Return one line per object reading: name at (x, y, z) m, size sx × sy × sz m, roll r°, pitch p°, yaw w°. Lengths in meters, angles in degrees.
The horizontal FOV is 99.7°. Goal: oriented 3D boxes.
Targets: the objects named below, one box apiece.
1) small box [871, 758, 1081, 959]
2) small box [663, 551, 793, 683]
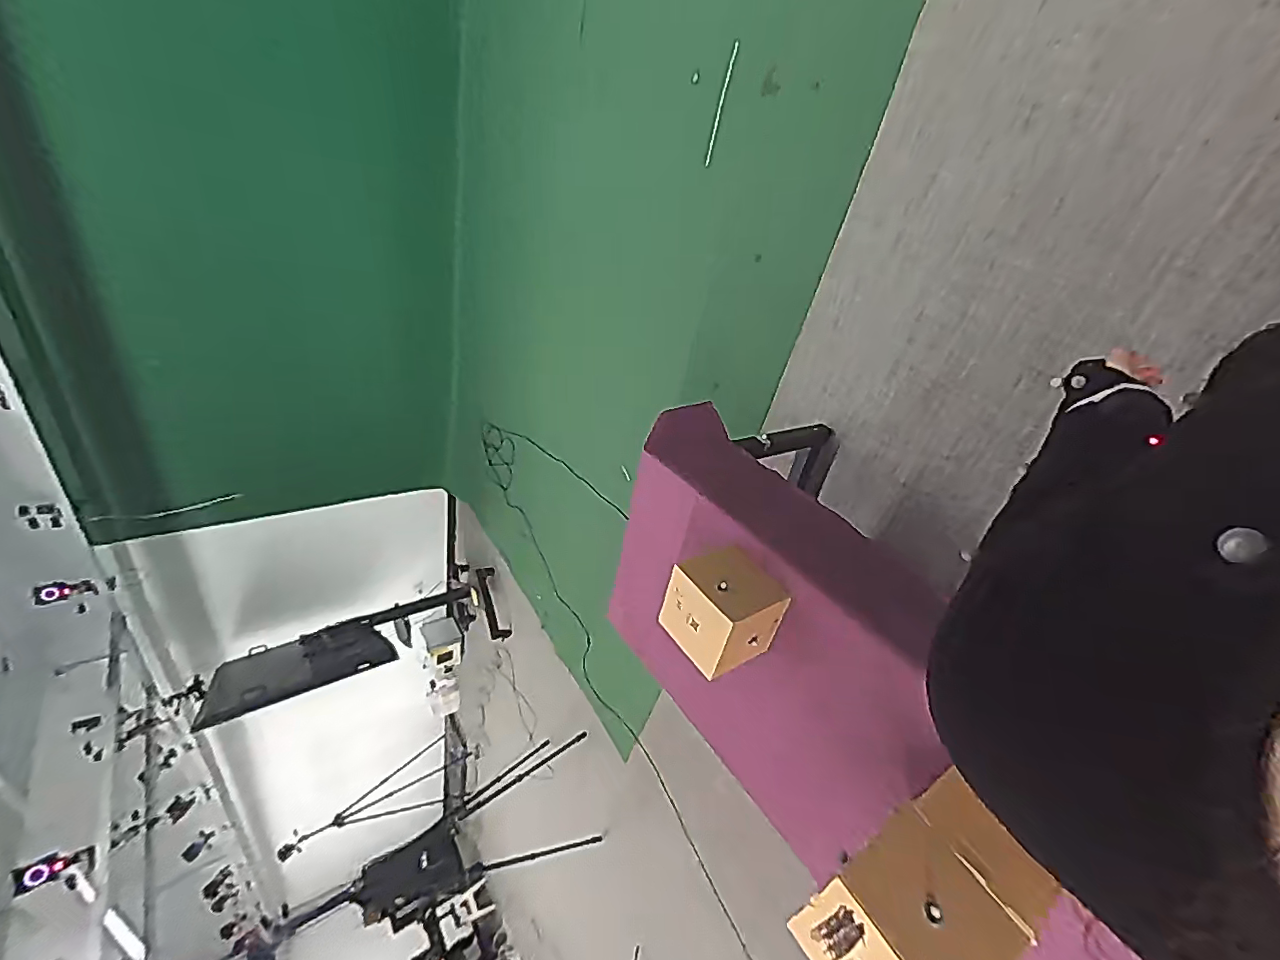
small box at (0.476, 0.544, 0.770) m, size 0.168 × 0.176 × 0.179 m, roll 43°, pitch 132°, yaw 40°
small box at (0.178, 0.268, 1.098) m, size 0.179 × 0.176 × 0.168 m, roll 43°, pitch 132°, yaw 39°
